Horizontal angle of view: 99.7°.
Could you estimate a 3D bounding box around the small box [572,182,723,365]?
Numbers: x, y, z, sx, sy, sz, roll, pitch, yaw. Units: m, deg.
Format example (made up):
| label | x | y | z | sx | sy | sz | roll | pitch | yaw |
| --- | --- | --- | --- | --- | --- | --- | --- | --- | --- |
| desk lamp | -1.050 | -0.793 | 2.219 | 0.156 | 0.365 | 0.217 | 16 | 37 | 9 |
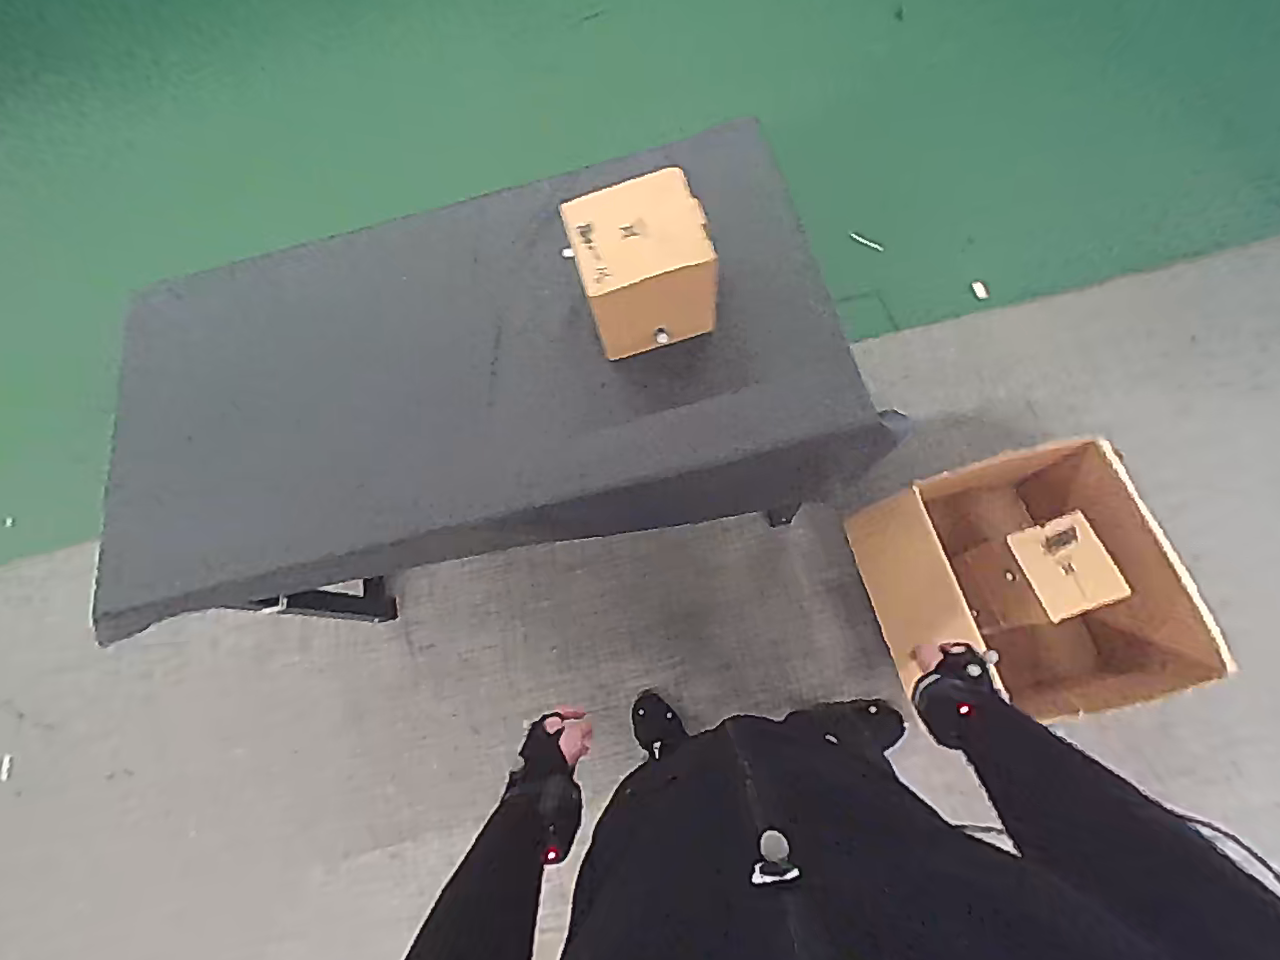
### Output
| label | x | y | z | sx | sy | sz | roll | pitch | yaw |
| --- | --- | --- | --- | --- | --- | --- | --- | --- | --- |
| small box | 0.014 | -0.303 | 0.822 | 0.179 | 0.176 | 0.168 | -19 | 72 | 1 |
